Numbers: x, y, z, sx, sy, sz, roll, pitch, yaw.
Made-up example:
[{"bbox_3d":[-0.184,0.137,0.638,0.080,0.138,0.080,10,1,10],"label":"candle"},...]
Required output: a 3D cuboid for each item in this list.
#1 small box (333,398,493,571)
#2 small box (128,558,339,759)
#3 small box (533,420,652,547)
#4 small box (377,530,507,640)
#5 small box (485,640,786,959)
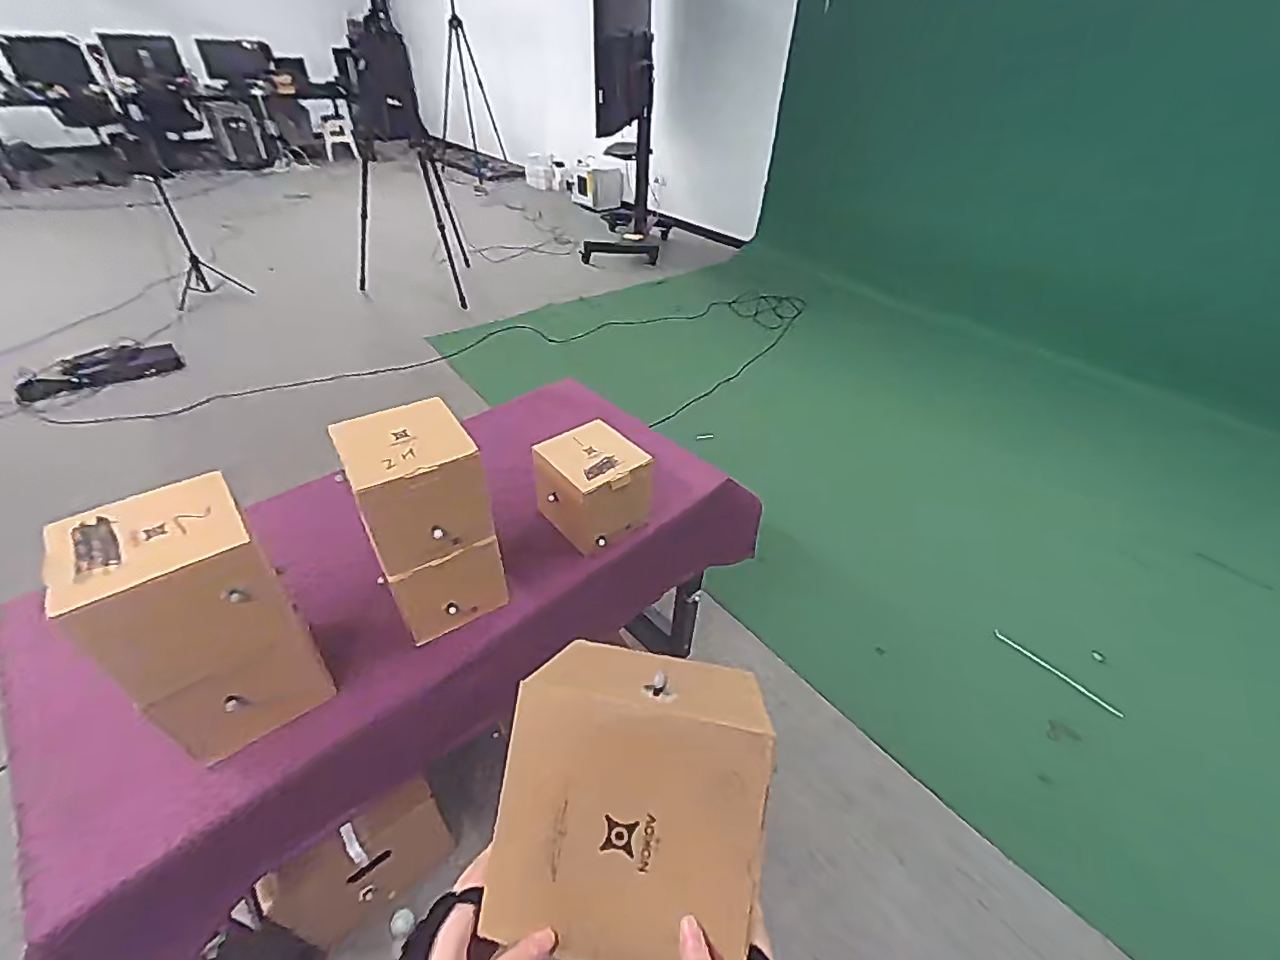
[{"bbox_3d":[-0.340,0.005,0.823,0.168,0.176,0.179,-22,47,-26],"label":"small box"},{"bbox_3d":[-0.567,0.252,0.767,0.179,0.176,0.168,-28,50,-30],"label":"small box"},{"bbox_3d":[-0.092,0.012,1.082,0.168,0.176,0.179,-27,48,-31],"label":"small box"},{"bbox_3d":[-0.343,0.135,0.924,0.168,0.176,0.179,-23,47,-27],"label":"small box"},{"bbox_3d":[0.005,0.237,0.431,0.179,0.176,0.168,10,85,8],"label":"small box"}]
